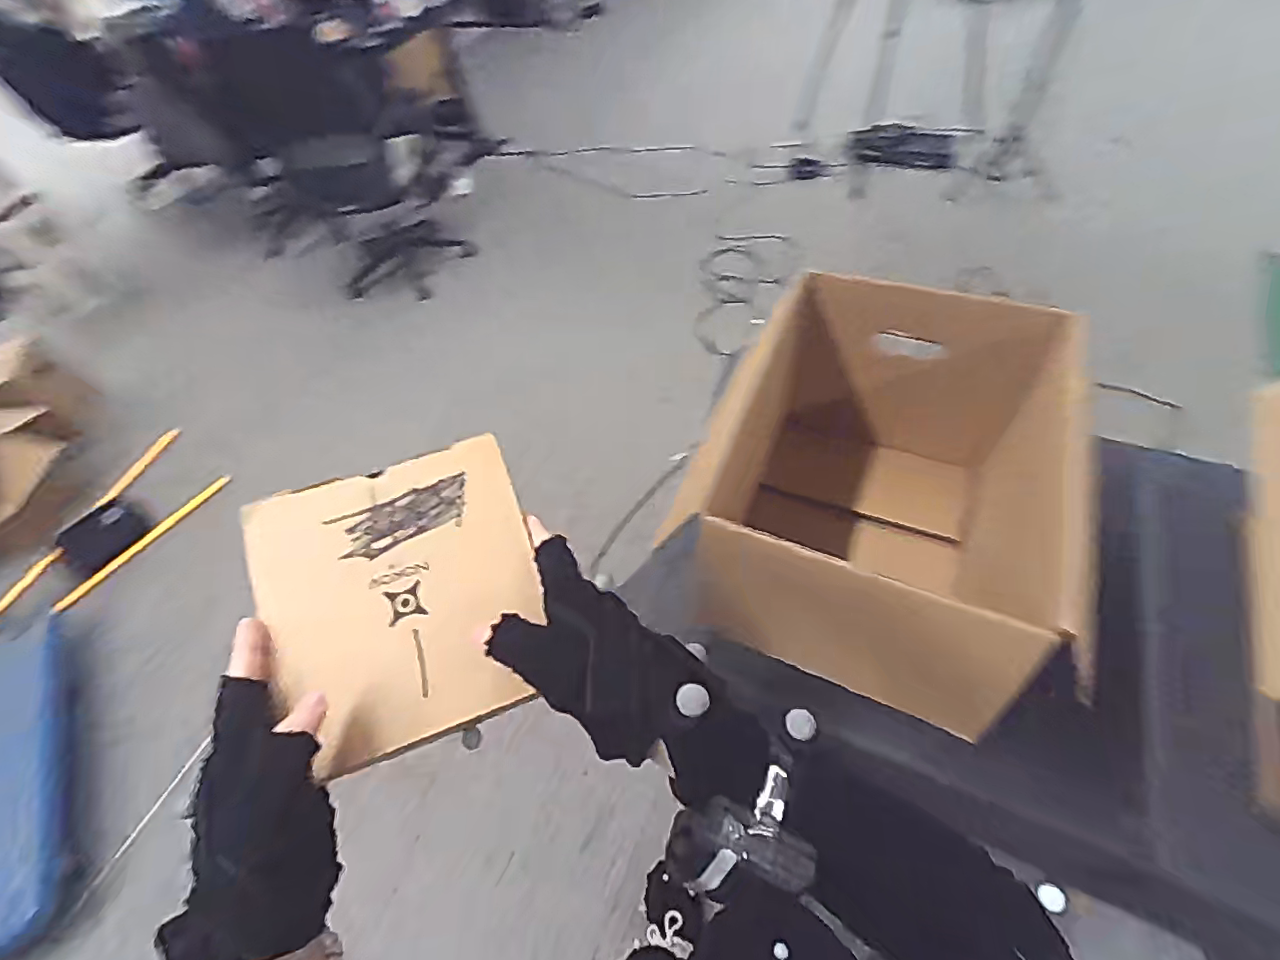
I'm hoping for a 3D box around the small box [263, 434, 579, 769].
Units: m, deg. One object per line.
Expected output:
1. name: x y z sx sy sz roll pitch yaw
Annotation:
1. small box: -0.150 0.092 0.414 0.168 0.176 0.179 -16 72 -12
